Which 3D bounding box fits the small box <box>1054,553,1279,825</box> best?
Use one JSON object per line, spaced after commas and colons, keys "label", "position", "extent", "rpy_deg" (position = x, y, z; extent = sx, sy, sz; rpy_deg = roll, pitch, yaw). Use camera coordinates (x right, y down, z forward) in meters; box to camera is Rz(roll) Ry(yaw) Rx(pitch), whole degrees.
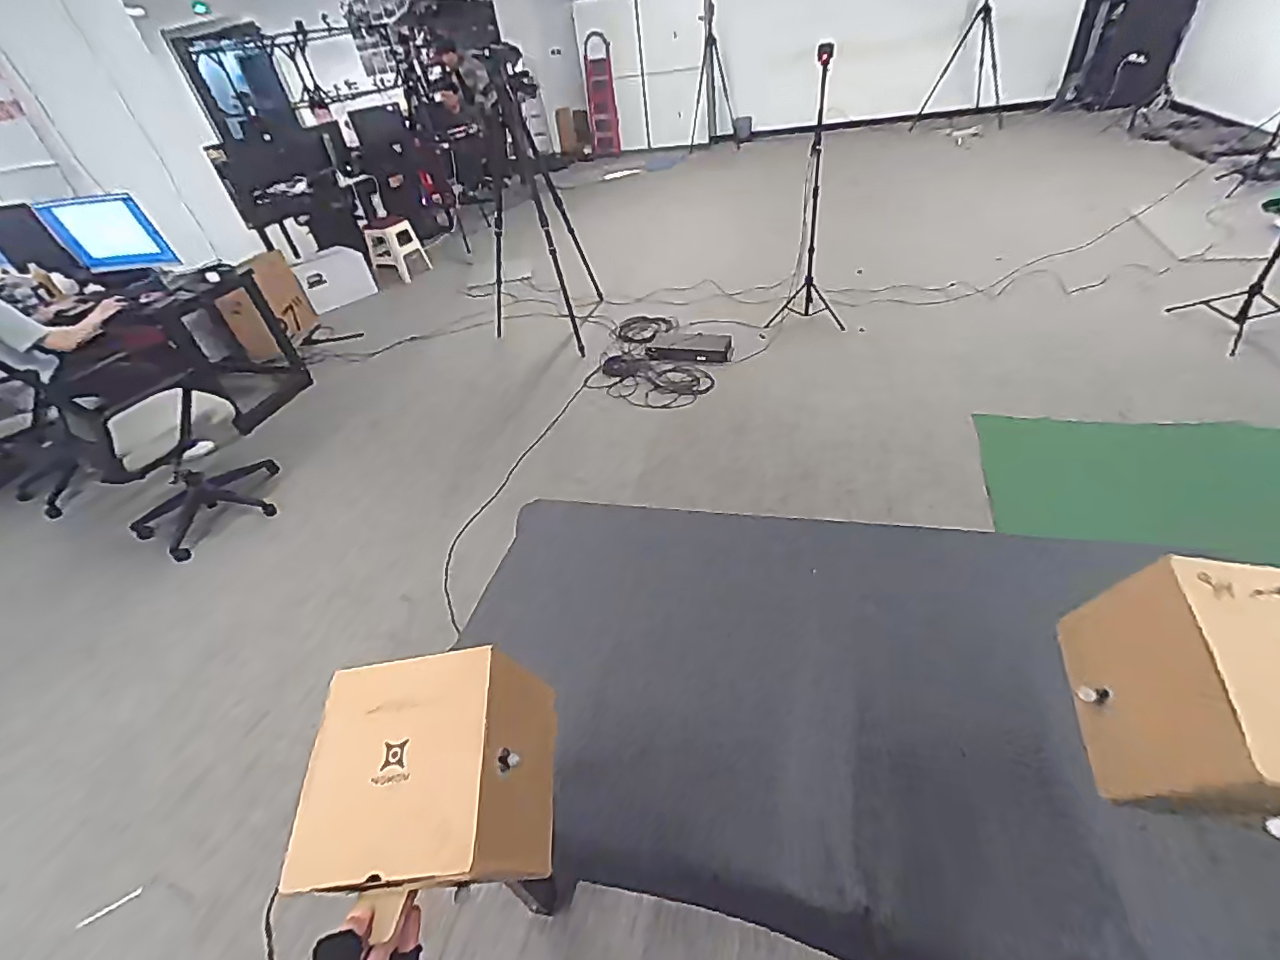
{"label": "small box", "position": [0.515, 0.189, 0.476], "extent": [0.168, 0.176, 0.179], "rpy_deg": [8, 56, 7]}

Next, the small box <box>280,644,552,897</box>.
{"label": "small box", "position": [-0.188, 0.280, 0.518], "extent": [0.168, 0.176, 0.179], "rpy_deg": [-11, 52, 6]}
